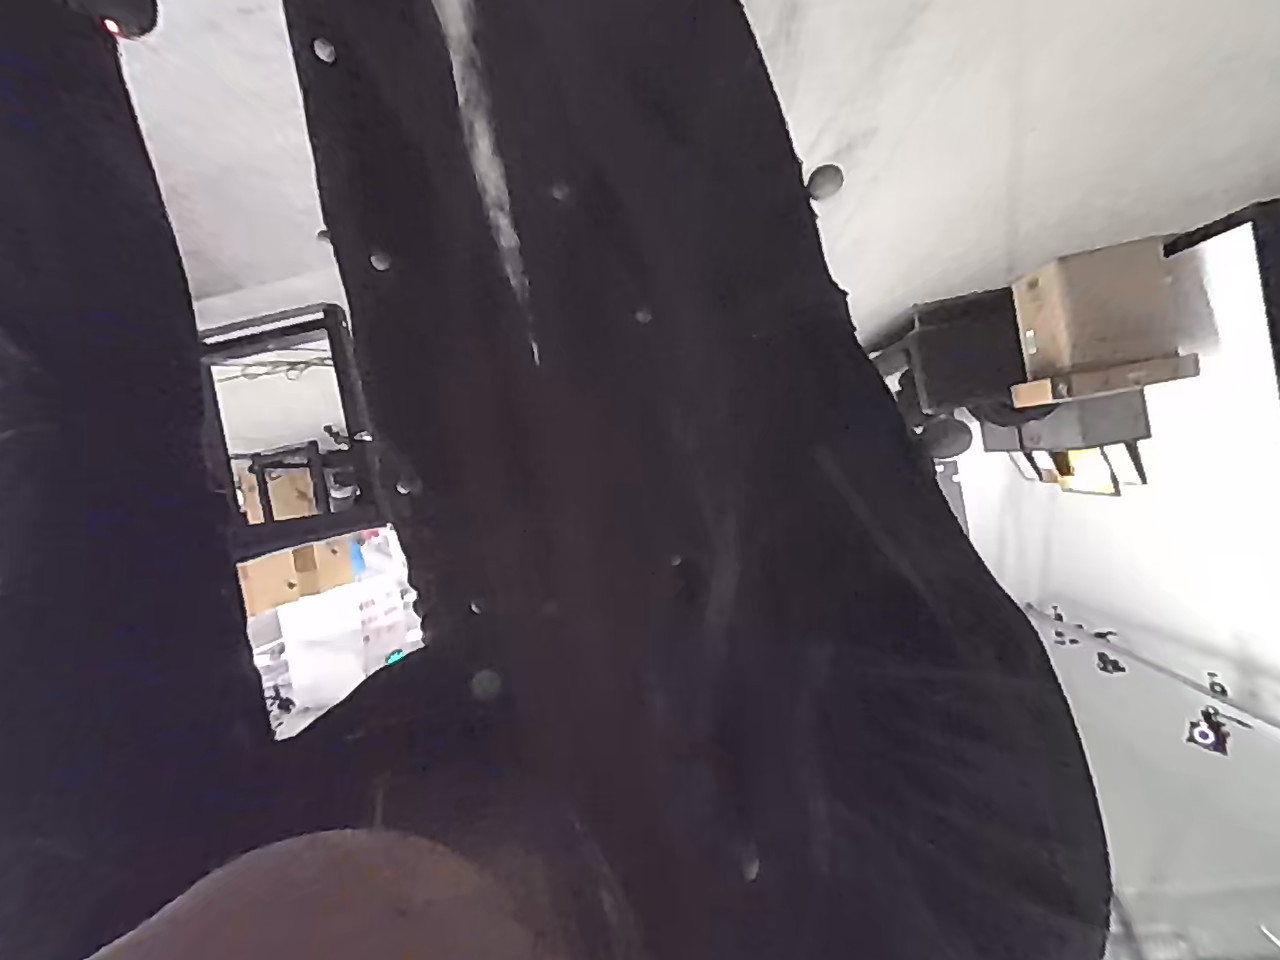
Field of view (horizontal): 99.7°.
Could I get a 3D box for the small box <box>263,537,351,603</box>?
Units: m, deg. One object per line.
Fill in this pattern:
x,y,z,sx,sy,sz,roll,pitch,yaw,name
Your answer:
-1.054,0.278,1.710,0.179,0.176,0.168,-9,180,7,small box
